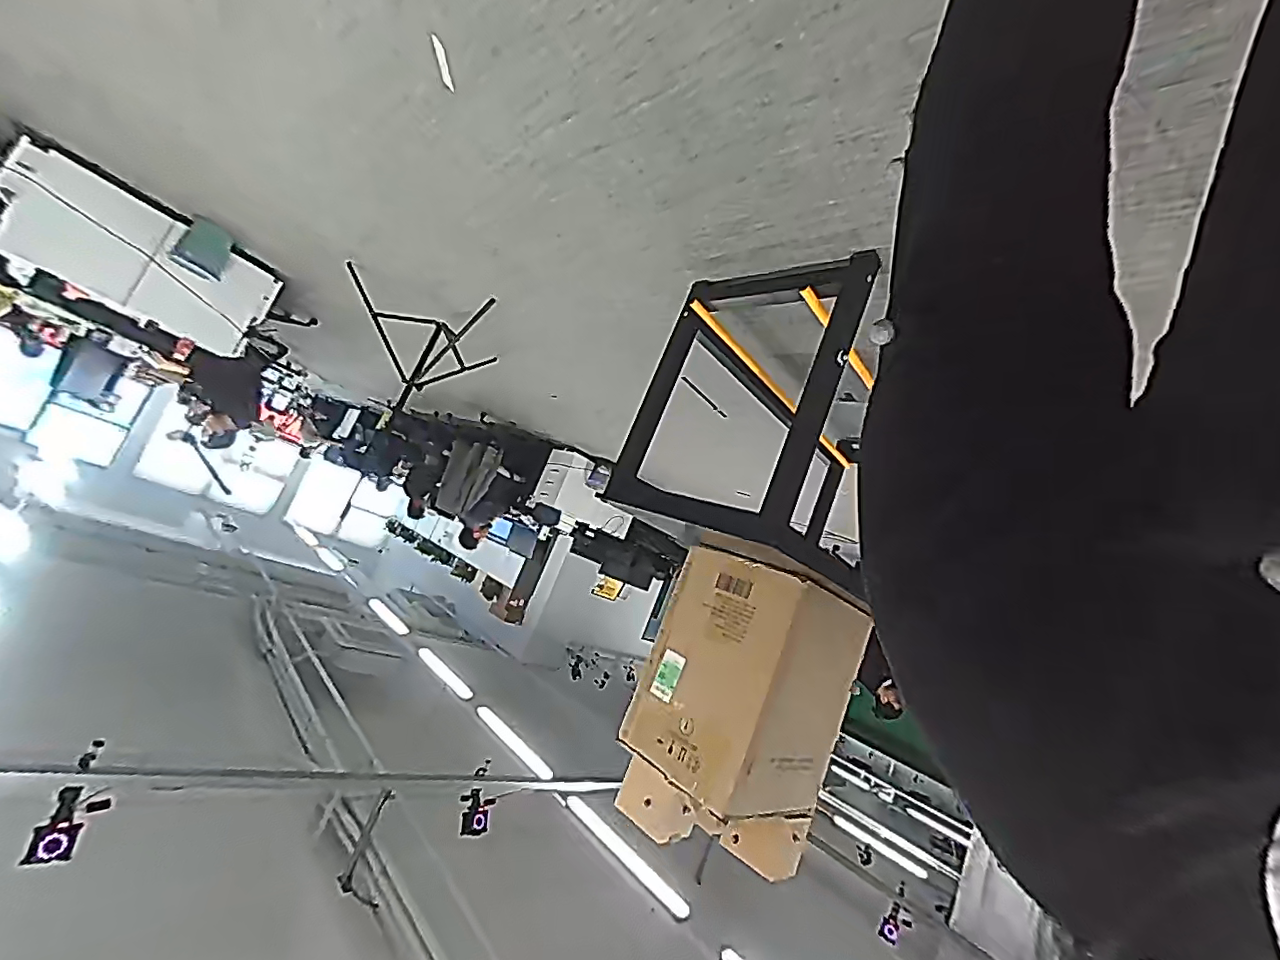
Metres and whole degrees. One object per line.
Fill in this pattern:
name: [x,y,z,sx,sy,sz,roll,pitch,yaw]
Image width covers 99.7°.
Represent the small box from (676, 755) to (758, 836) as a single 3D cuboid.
small box: [0.254,1.012,1.746,0.168,0.176,0.179,14,166,46]
